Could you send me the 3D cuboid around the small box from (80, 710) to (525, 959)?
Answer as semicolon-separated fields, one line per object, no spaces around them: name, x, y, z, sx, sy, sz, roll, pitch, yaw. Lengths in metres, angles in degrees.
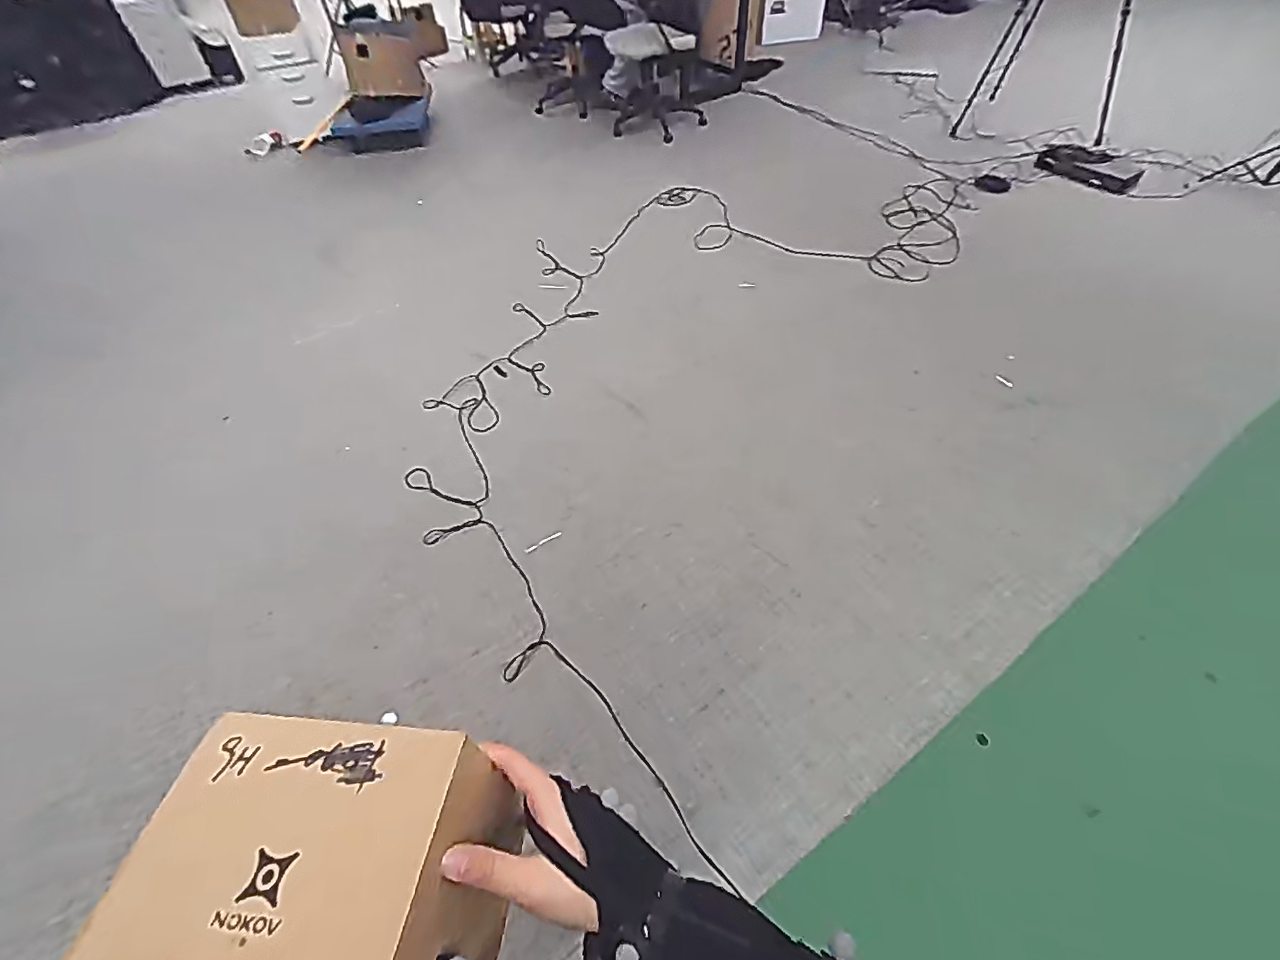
small box;-0.184;0.267;0.338;0.168;0.176;0.179;1;47;7
